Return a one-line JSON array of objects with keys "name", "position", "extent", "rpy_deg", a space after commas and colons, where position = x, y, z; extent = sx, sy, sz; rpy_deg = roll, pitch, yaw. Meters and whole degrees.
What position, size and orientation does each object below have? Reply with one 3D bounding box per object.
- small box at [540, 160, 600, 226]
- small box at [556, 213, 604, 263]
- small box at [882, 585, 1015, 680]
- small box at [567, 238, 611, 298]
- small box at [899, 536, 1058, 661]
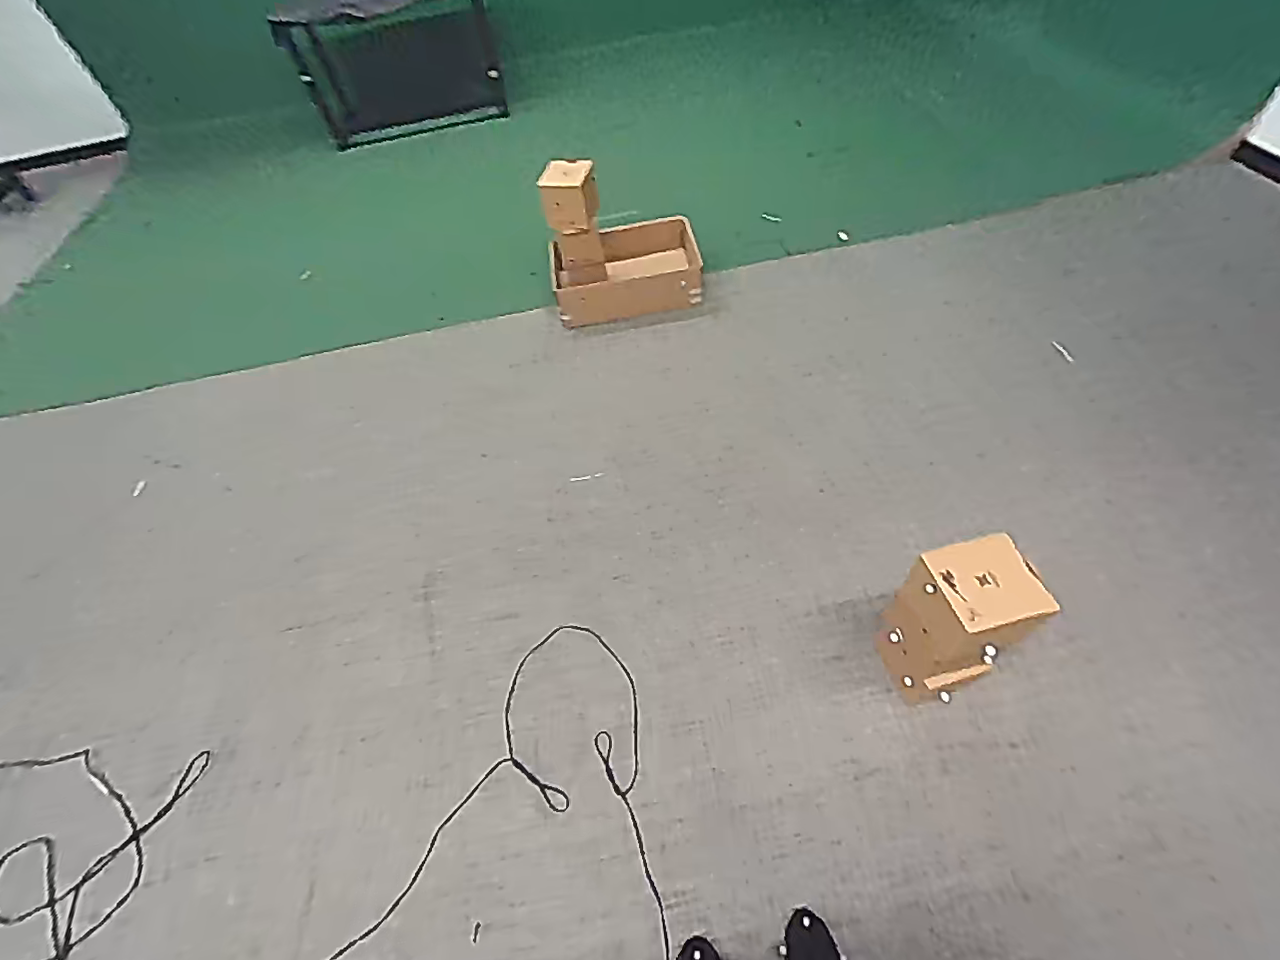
[{"name": "small box", "position": [-0.257, -1.086, 2.050], "extent": [0.168, 0.176, 0.179], "rpy_deg": [7, 56, 12]}, {"name": "small box", "position": [-0.244, -0.998, 2.187], "extent": [0.168, 0.176, 0.179], "rpy_deg": [-10, 54, -1]}, {"name": "small box", "position": [0.669, 0.323, 1.197], "extent": [0.179, 0.176, 0.168], "rpy_deg": [-14, 53, -1]}, {"name": "small box", "position": [-0.224, -0.914, 2.326], "extent": [0.168, 0.176, 0.179], "rpy_deg": [-12, 55, -1]}, {"name": "small box", "position": [0.647, 0.235, 1.060], "extent": [0.179, 0.176, 0.168], "rpy_deg": [-13, 53, -2]}]
